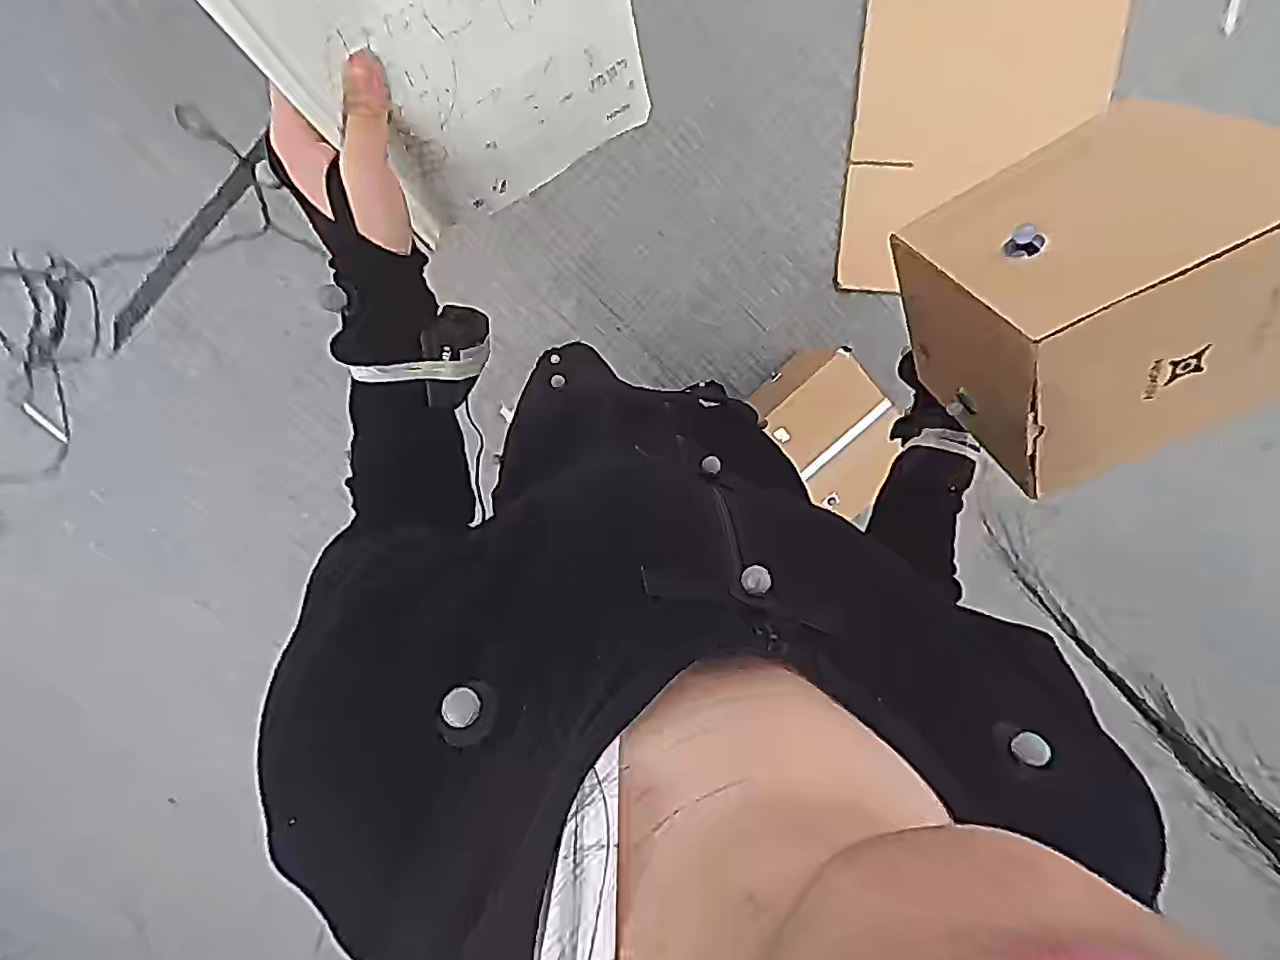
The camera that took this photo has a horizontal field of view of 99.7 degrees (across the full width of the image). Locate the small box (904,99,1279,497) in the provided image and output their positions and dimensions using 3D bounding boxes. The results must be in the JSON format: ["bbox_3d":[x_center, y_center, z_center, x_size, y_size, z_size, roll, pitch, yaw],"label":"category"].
[{"bbox_3d":[0.312,-0.126,0.385,0.179,0.176,0.168,-29,134,14],"label":"small box"}]
